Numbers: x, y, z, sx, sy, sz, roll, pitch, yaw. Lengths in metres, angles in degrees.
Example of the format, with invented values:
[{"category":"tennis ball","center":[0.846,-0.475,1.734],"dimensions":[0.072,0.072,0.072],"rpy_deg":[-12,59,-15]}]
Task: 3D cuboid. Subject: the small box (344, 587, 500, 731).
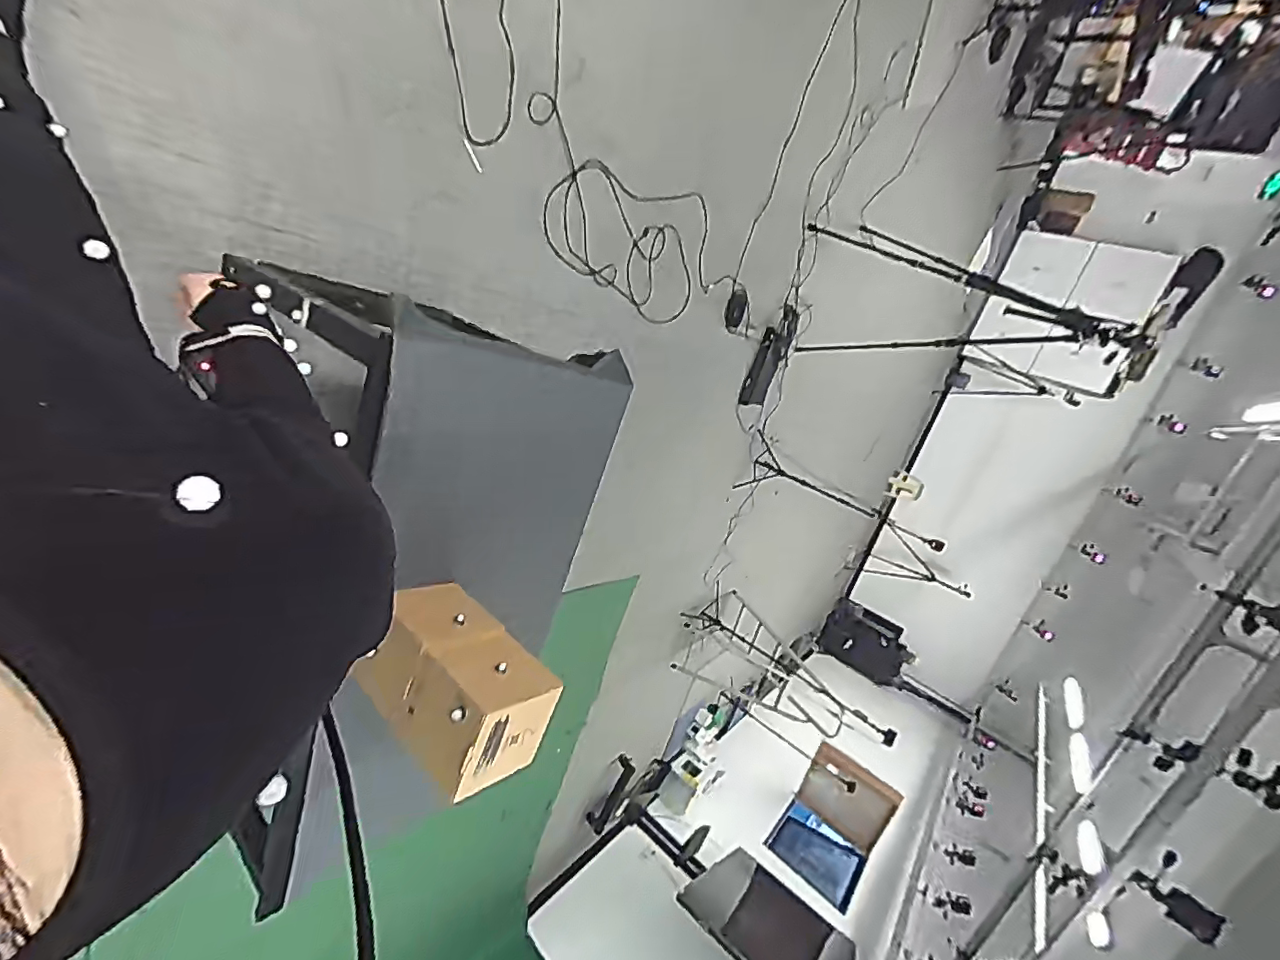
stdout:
[{"category":"small box","center":[-0.396,0.309,0.982],"dimensions":[0.179,0.176,0.168],"rpy_deg":[6,109,-57]}]
